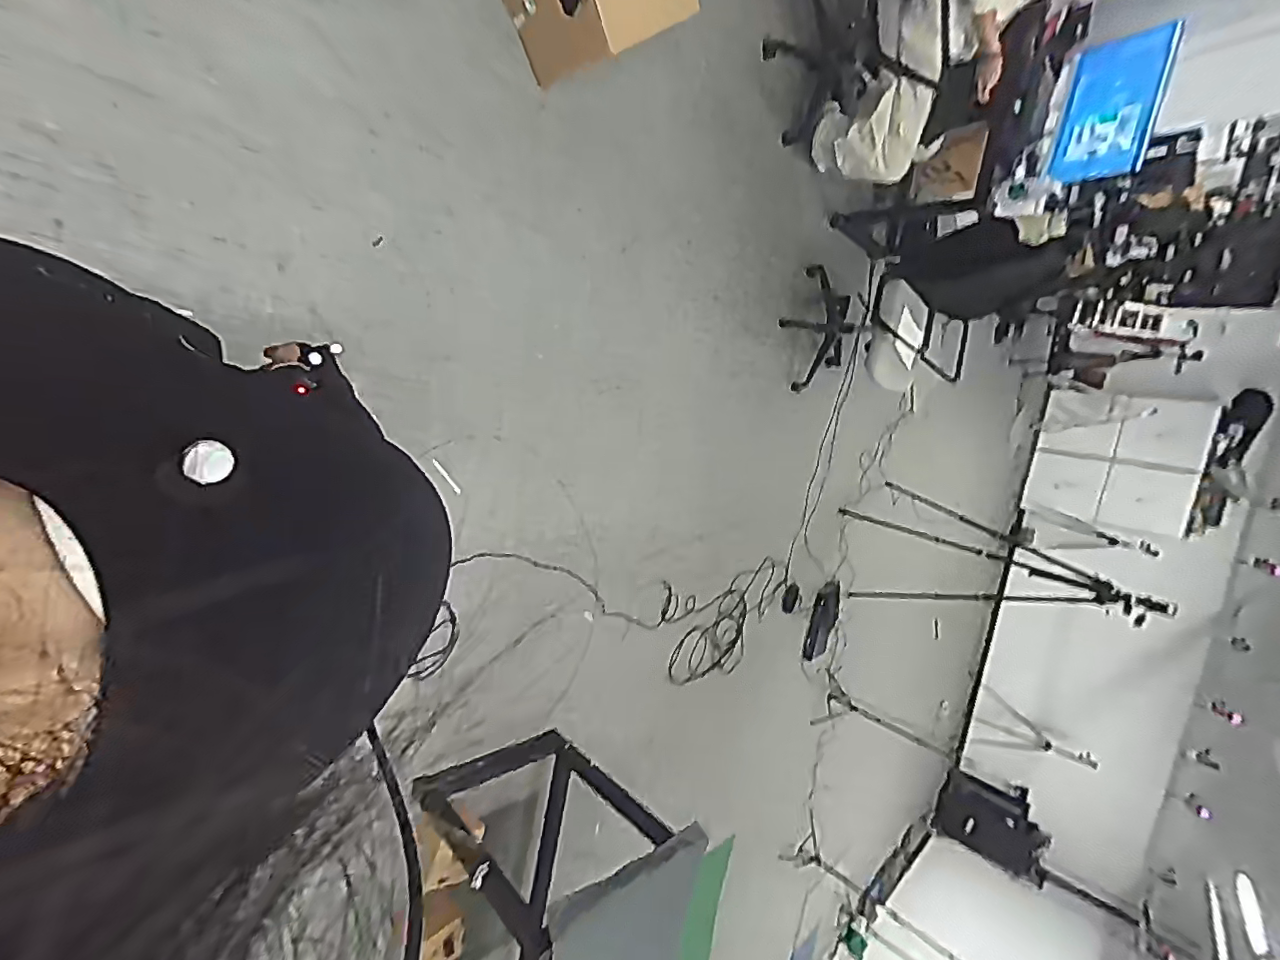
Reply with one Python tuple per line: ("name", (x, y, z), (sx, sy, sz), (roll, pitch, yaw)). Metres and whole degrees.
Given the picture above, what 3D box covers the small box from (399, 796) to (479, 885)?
("small box", (-0.669, 1.179, 1.790), (0.168, 0.176, 0.179), (22, 85, -47))
